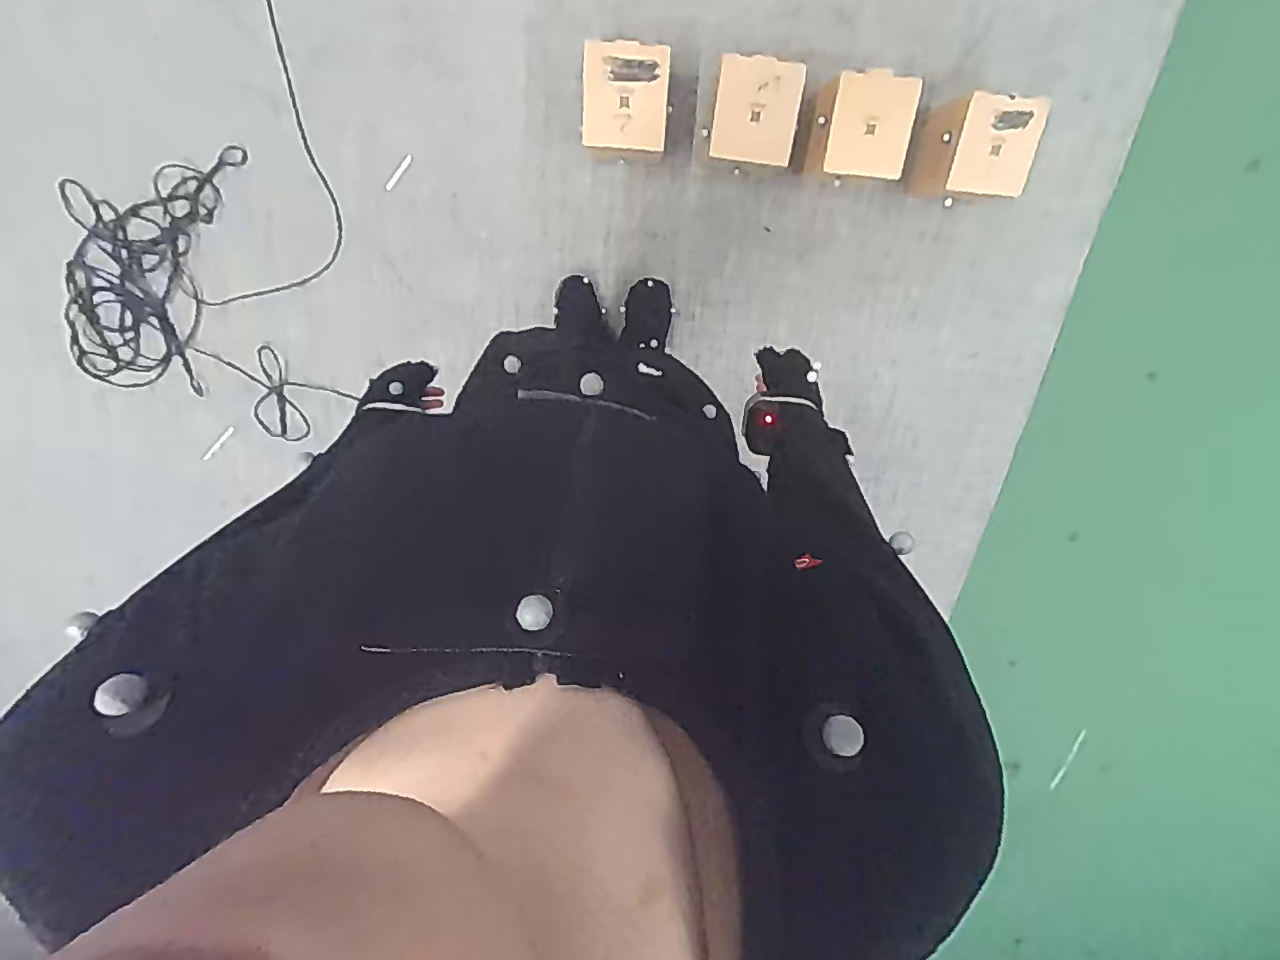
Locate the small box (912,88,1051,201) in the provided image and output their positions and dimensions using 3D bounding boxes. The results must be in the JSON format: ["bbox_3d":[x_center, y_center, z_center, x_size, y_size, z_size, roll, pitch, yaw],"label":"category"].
[{"bbox_3d":[0.720,-0.712,1.165,0.168,0.176,0.179,4,114,-3],"label":"small box"}]

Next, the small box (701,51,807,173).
[{"bbox_3d":[0.227,-0.755,1.130,0.168,0.176,0.179,5,113,-4],"label":"small box"}]

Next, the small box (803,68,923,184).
[{"bbox_3d":[0.458,-0.738,1.147,0.168,0.176,0.179,3,113,-3],"label":"small box"}]
